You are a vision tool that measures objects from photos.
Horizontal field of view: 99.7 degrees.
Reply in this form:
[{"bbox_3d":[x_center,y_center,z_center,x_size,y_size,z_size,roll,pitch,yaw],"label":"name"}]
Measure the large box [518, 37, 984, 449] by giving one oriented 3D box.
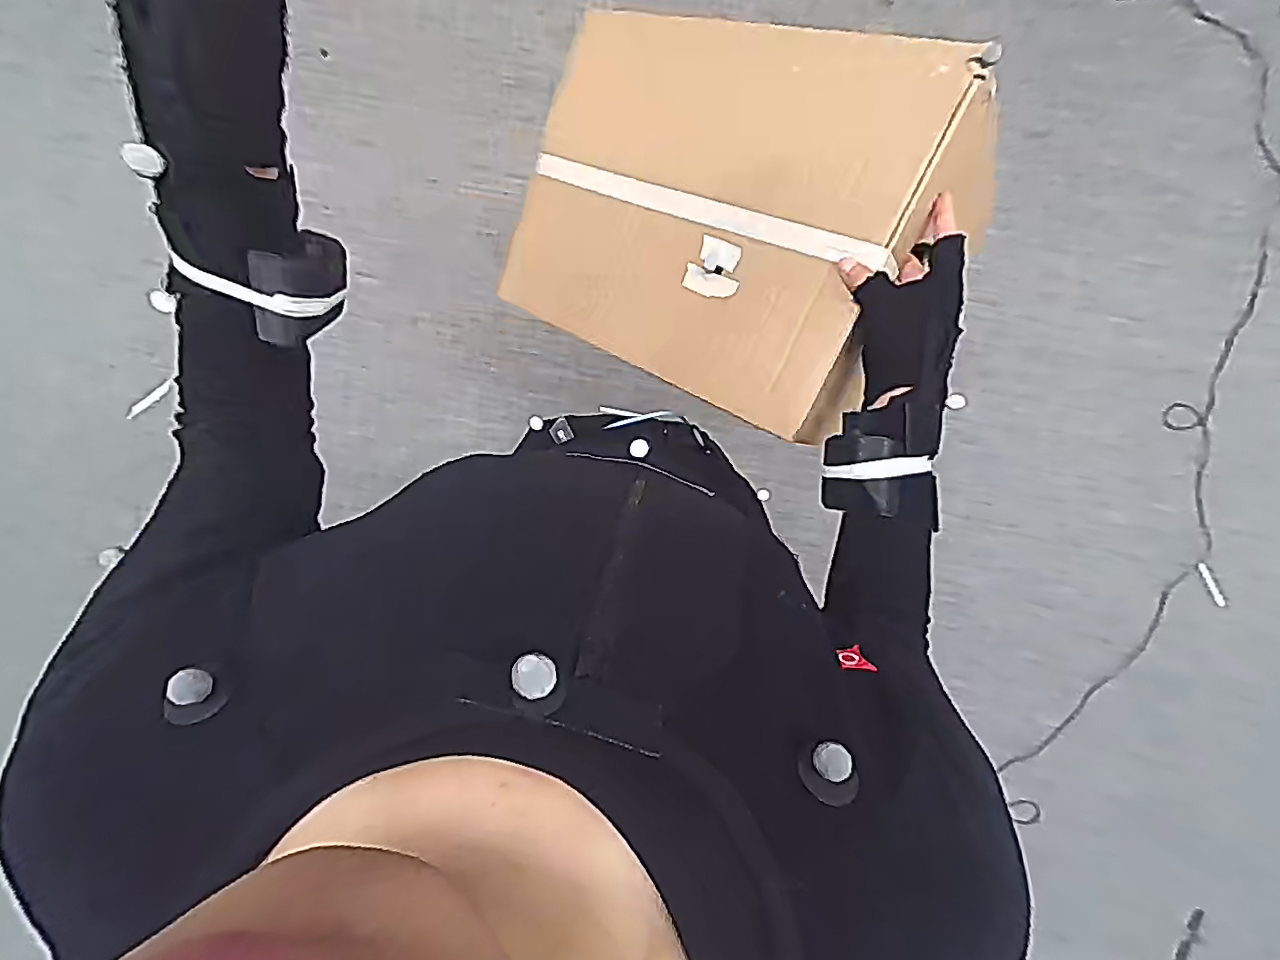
[{"bbox_3d":[0.131,-0.263,0.663,0.408,0.320,0.320,33,109,29],"label":"large box"}]
